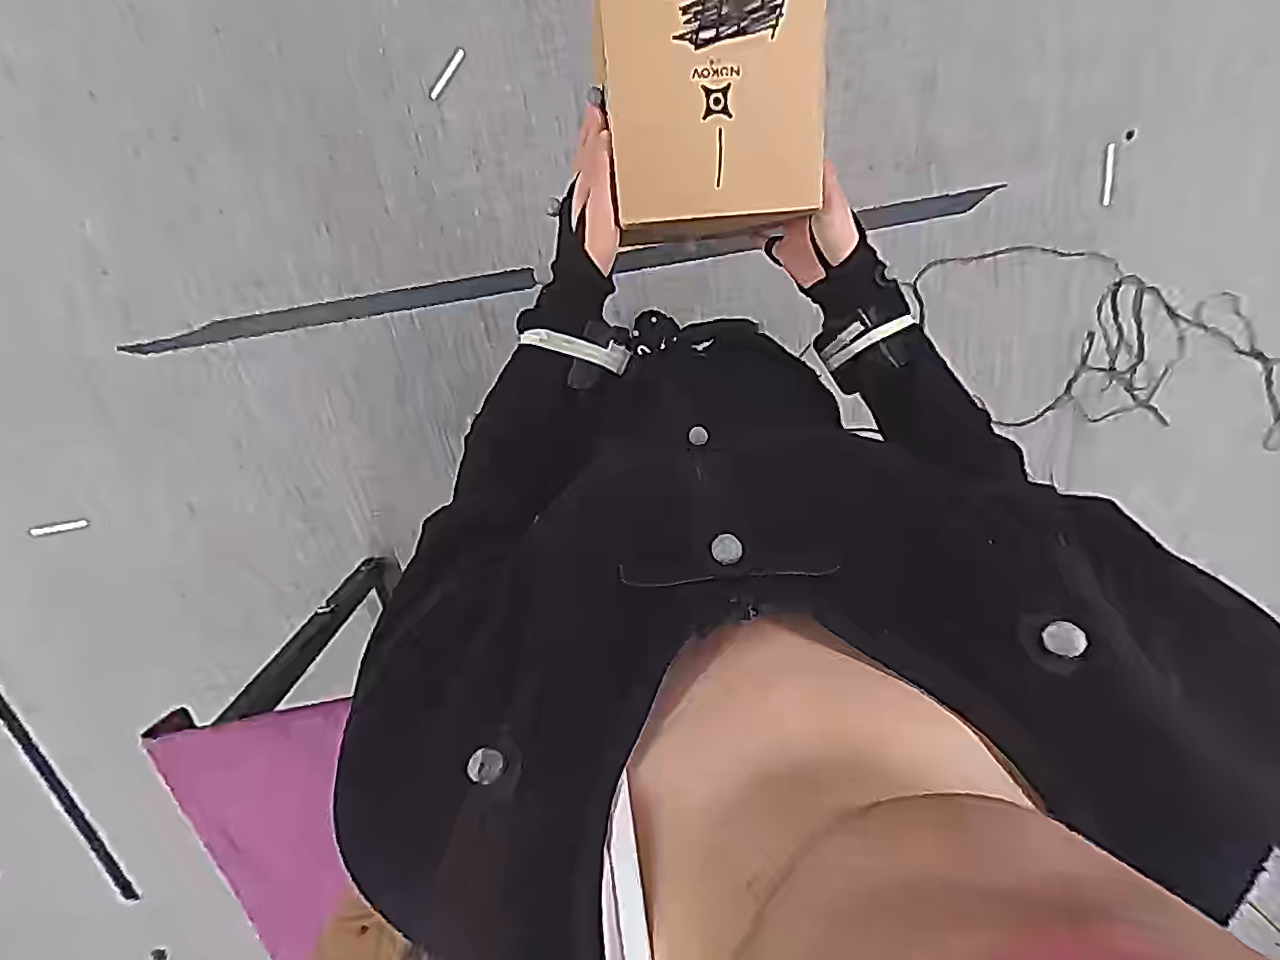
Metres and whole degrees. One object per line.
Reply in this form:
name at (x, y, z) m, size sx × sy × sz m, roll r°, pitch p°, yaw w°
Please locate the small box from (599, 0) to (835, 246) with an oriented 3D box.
small box at (0.054, -0.313, 0.474) m, size 0.168 × 0.176 × 0.179 m, roll -6°, pitch 108°, yaw -4°
